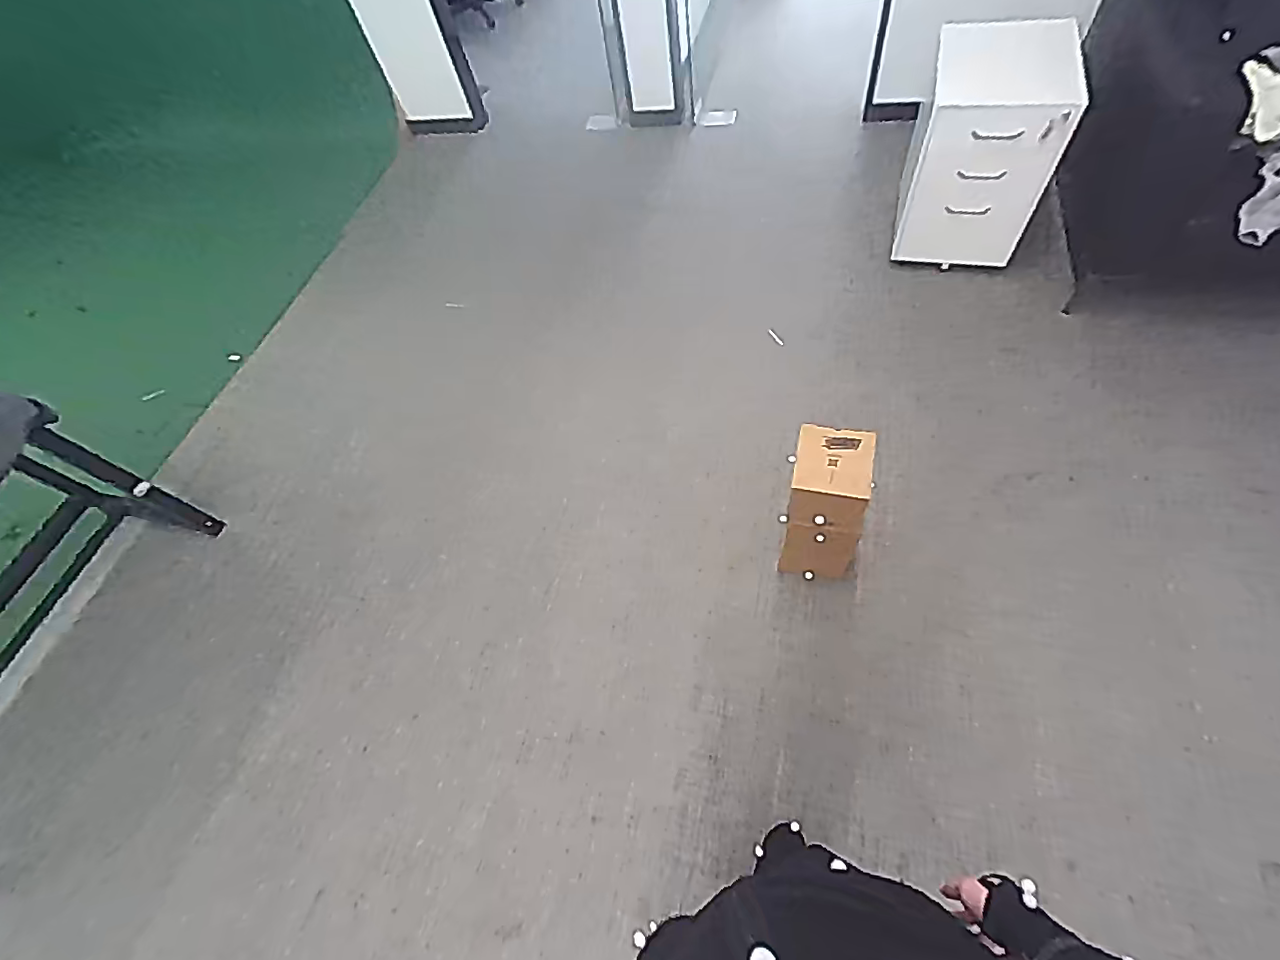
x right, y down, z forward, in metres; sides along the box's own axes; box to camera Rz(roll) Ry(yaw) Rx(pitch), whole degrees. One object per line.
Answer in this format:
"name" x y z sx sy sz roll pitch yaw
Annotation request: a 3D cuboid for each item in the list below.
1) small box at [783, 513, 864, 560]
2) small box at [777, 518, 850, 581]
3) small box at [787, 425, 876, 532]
"small box" 0.473 0.092 1.398 0.179 0.176 0.168 10 61 14
"small box" 0.496 0.174 1.536 0.179 0.176 0.168 10 61 15
"small box" 0.443 -0.002 1.265 0.168 0.176 0.179 9 62 16
